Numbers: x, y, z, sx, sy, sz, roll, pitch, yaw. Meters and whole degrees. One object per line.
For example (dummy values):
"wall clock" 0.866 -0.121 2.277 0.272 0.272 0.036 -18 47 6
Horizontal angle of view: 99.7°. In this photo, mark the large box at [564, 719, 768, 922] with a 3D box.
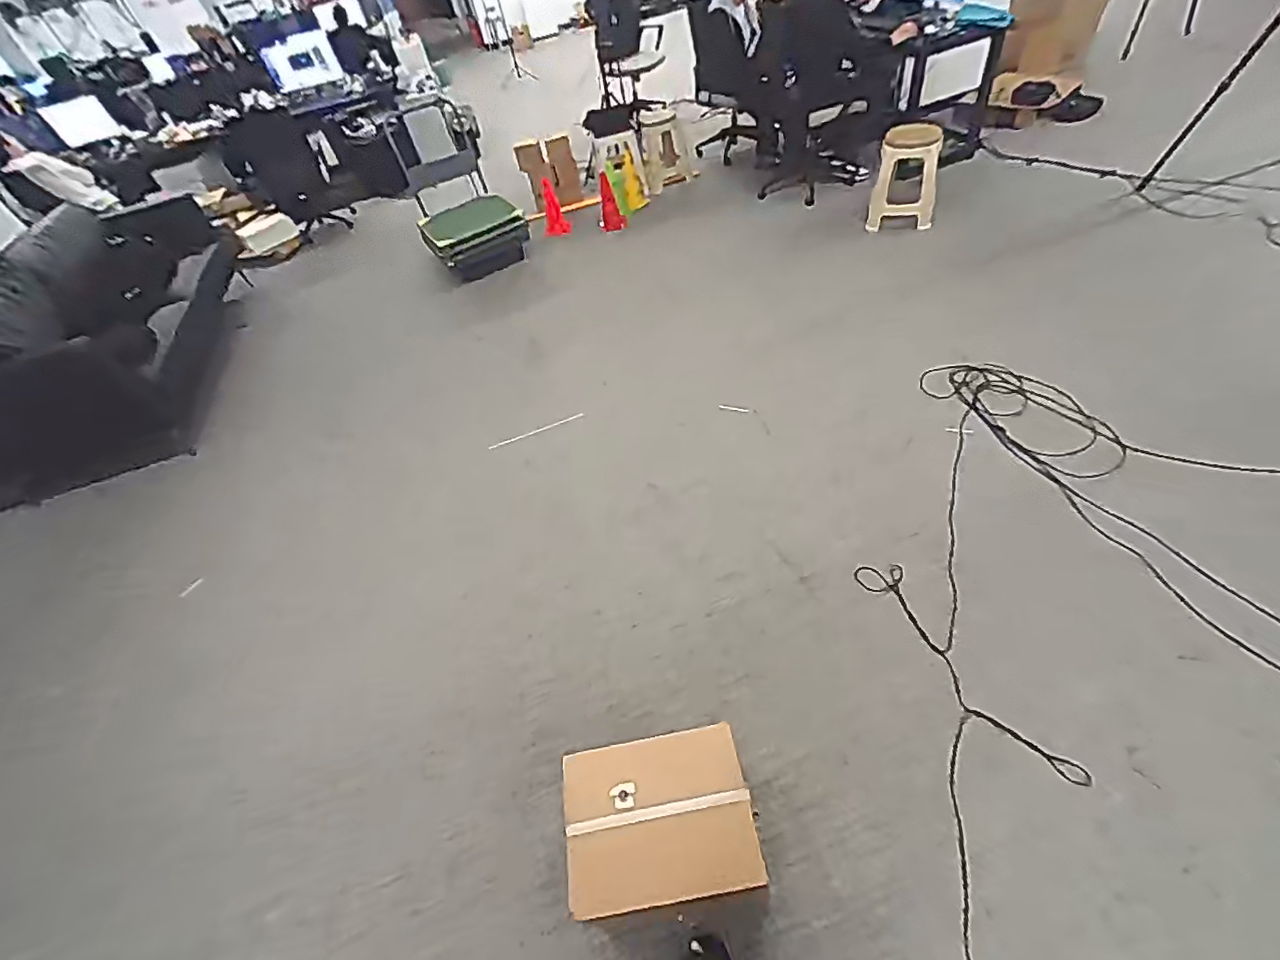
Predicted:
"large box" 0.063 0.811 1.278 0.408 0.320 0.320 -13 47 3
